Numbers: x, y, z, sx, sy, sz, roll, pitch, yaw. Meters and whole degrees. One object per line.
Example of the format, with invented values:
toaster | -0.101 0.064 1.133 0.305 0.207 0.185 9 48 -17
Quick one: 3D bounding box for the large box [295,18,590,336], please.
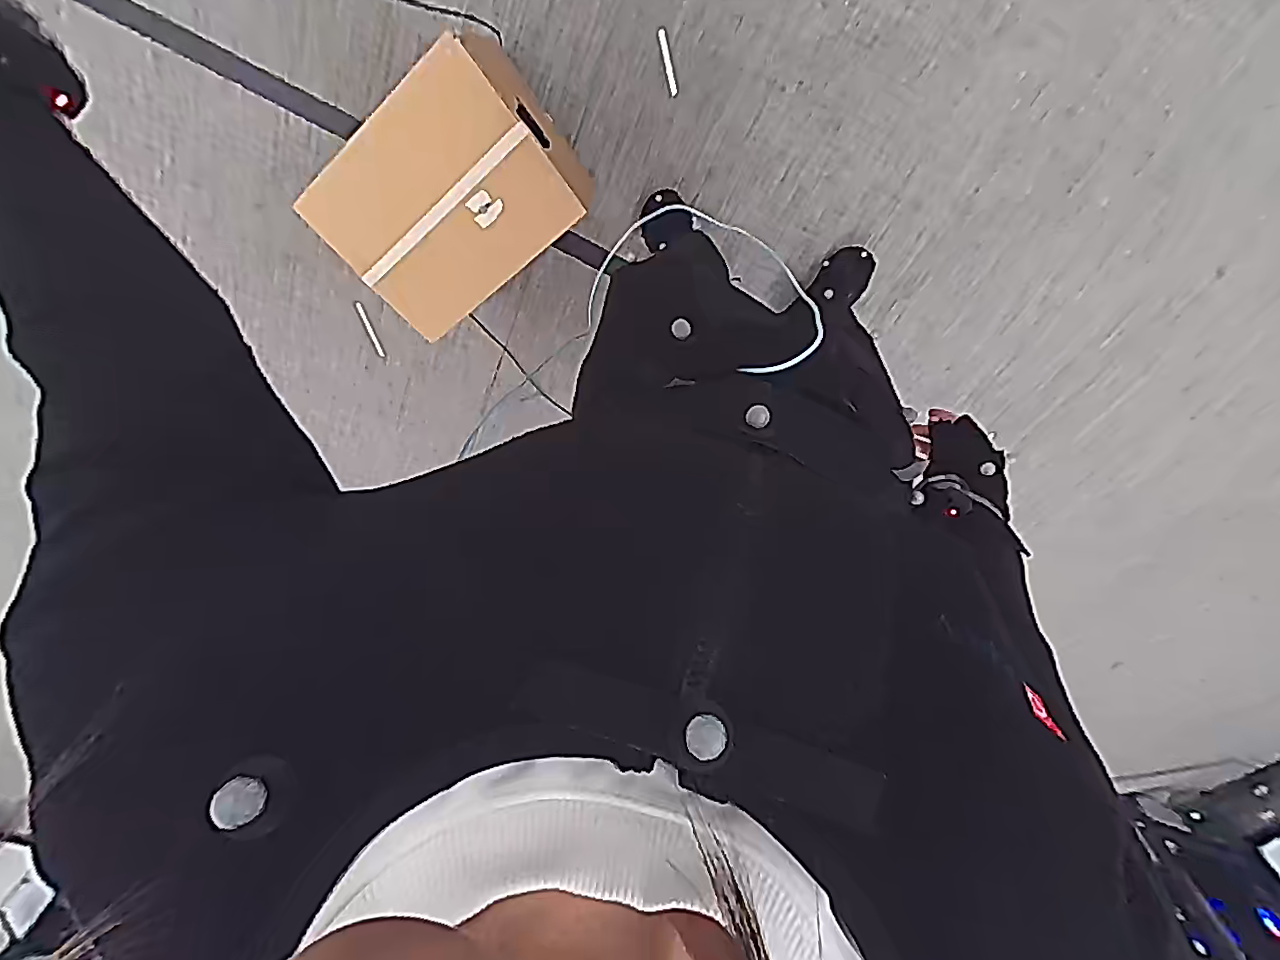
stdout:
large box | -0.349 -0.562 1.046 0.408 0.320 0.320 -32 121 20
